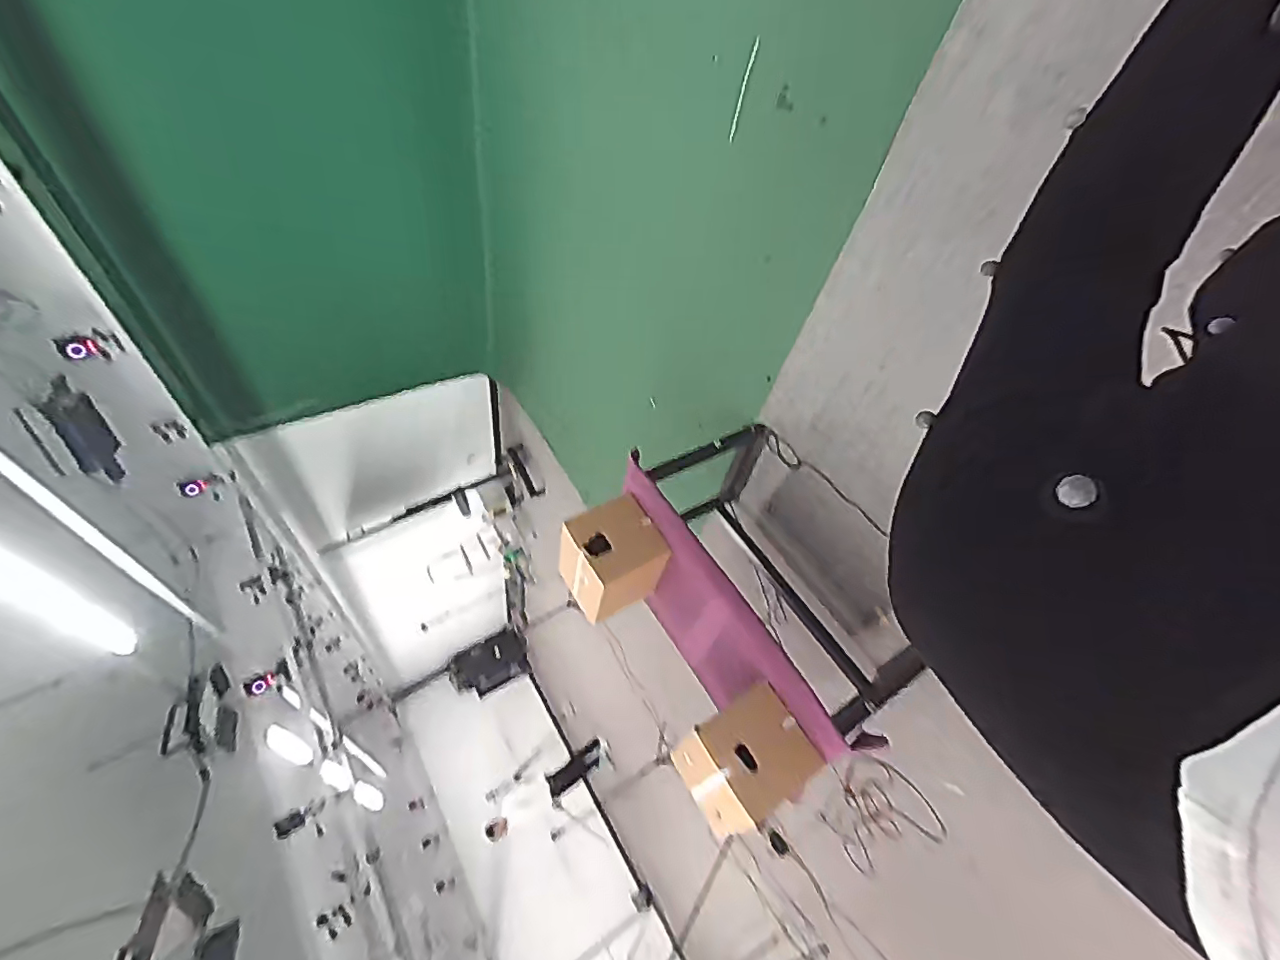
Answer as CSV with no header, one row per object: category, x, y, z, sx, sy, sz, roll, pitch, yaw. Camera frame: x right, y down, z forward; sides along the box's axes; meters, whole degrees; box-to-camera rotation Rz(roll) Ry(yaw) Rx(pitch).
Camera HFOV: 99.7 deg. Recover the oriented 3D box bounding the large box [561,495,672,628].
large box,-0.109,0.335,2.203,0.320,0.320,0.408,52,150,25
